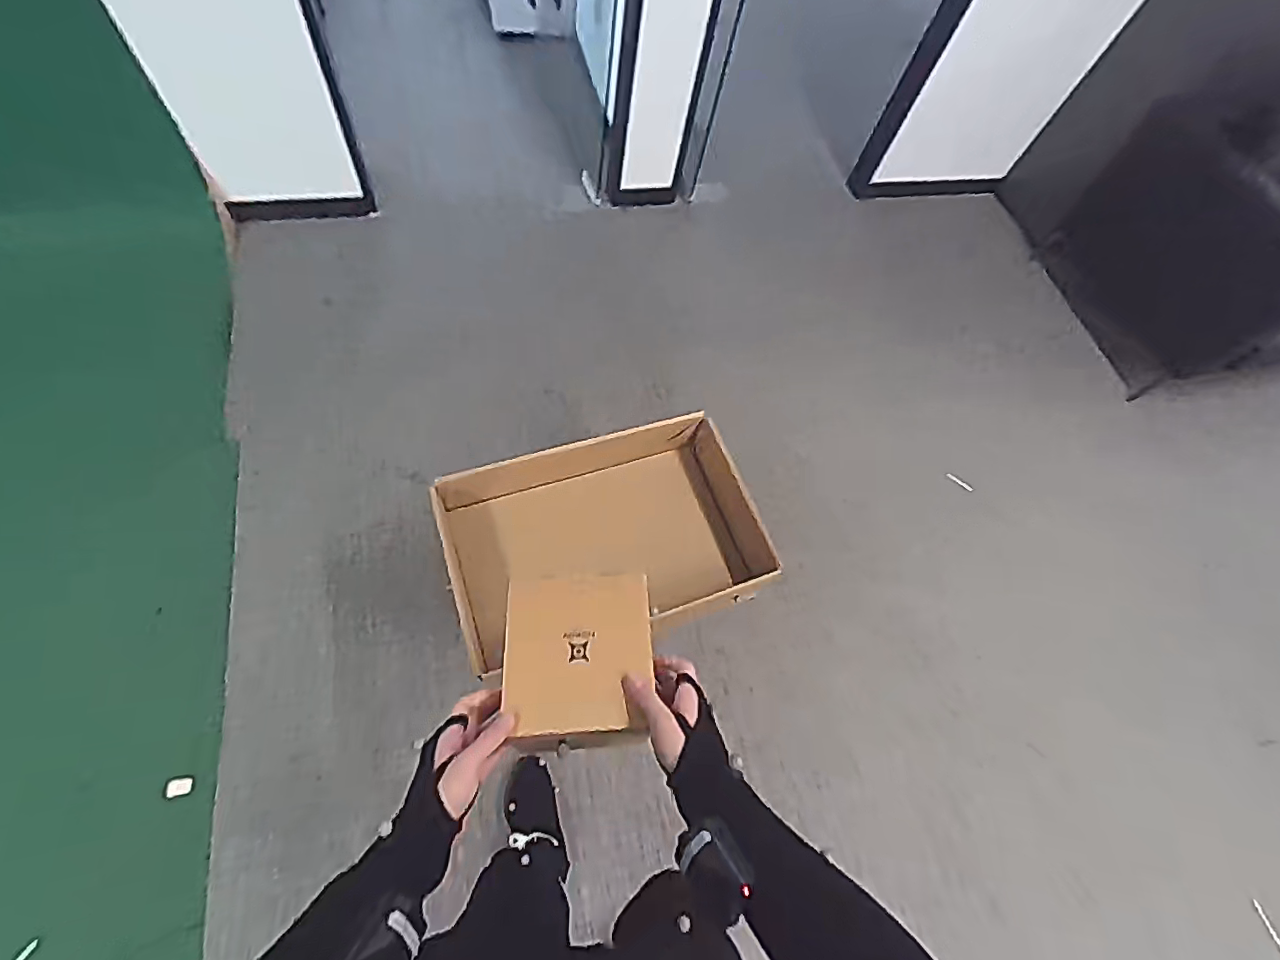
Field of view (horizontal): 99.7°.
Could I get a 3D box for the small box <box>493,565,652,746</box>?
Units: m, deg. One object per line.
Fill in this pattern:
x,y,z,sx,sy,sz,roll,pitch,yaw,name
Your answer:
-0.076,0.220,0.660,0.168,0.176,0.179,-1,56,-5,small box
